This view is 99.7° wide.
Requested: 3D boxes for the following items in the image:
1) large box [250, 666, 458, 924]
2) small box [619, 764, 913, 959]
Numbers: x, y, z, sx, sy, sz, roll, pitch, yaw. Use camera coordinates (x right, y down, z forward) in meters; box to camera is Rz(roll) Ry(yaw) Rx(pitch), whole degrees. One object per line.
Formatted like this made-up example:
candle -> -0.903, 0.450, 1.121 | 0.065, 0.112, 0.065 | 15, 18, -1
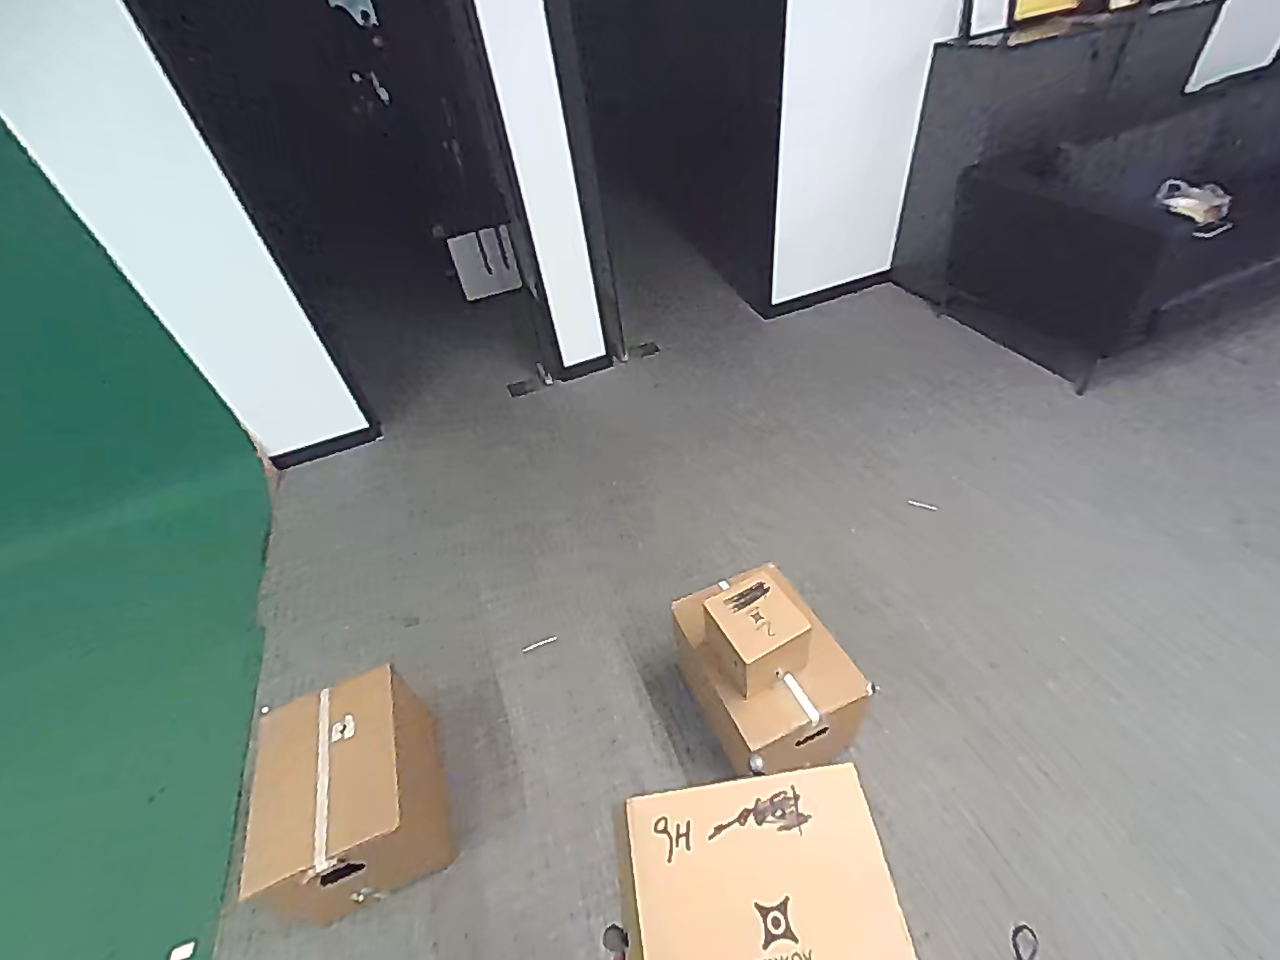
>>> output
large box -> -0.673, 0.752, 1.315 | 0.320, 0.320, 0.408 | -21, 44, -11
small box -> 0.077, 0.321, 0.399 | 0.168, 0.176, 0.179 | -3, 59, -9
